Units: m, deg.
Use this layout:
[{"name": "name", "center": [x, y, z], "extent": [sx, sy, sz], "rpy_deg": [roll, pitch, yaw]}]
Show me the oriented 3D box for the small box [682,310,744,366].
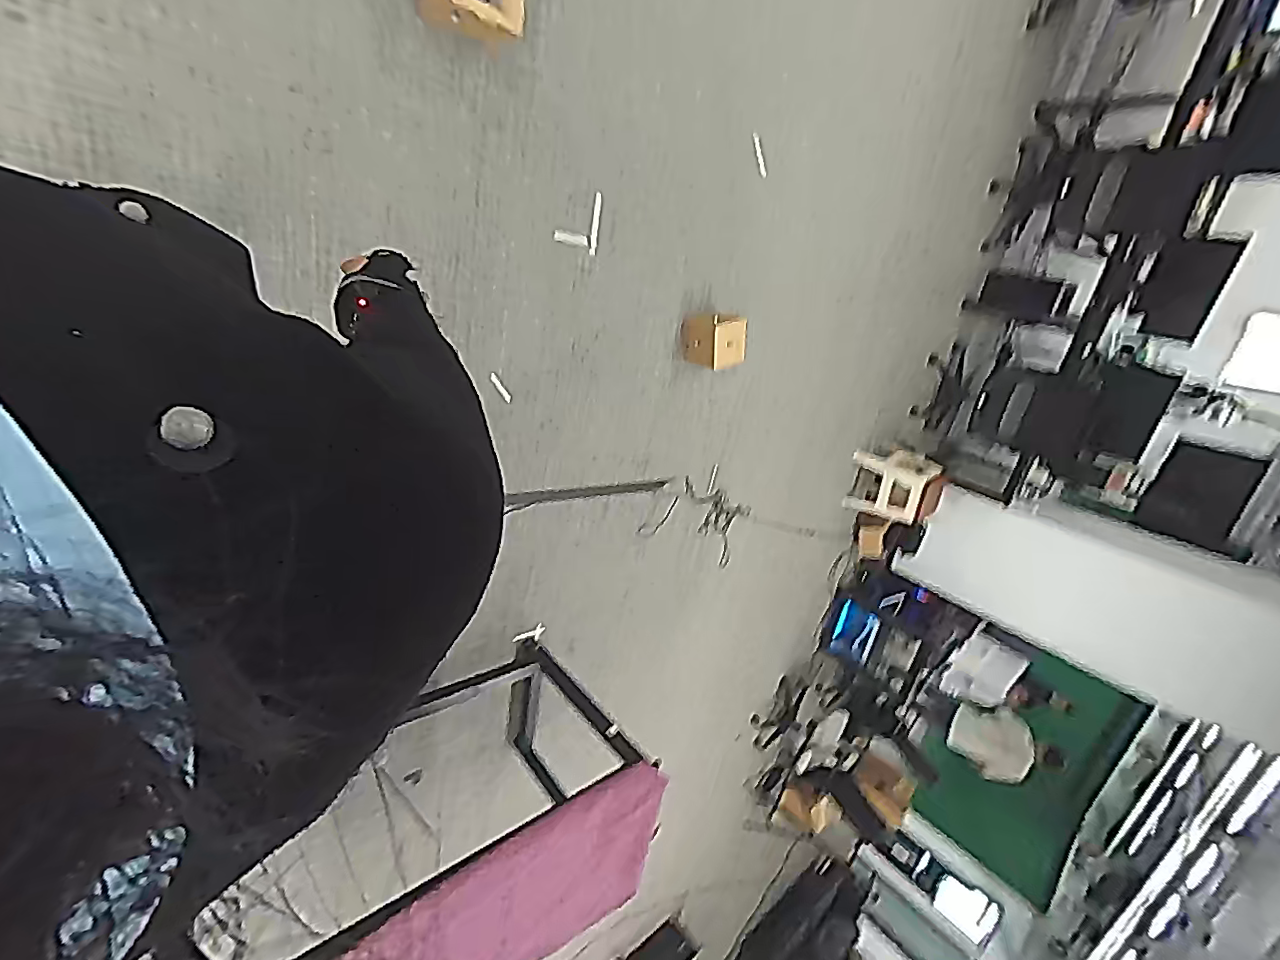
[{"name": "small box", "center": [0.277, -0.551, 2.091], "extent": [0.179, 0.176, 0.168], "rpy_deg": [-24, 127, -34]}]
